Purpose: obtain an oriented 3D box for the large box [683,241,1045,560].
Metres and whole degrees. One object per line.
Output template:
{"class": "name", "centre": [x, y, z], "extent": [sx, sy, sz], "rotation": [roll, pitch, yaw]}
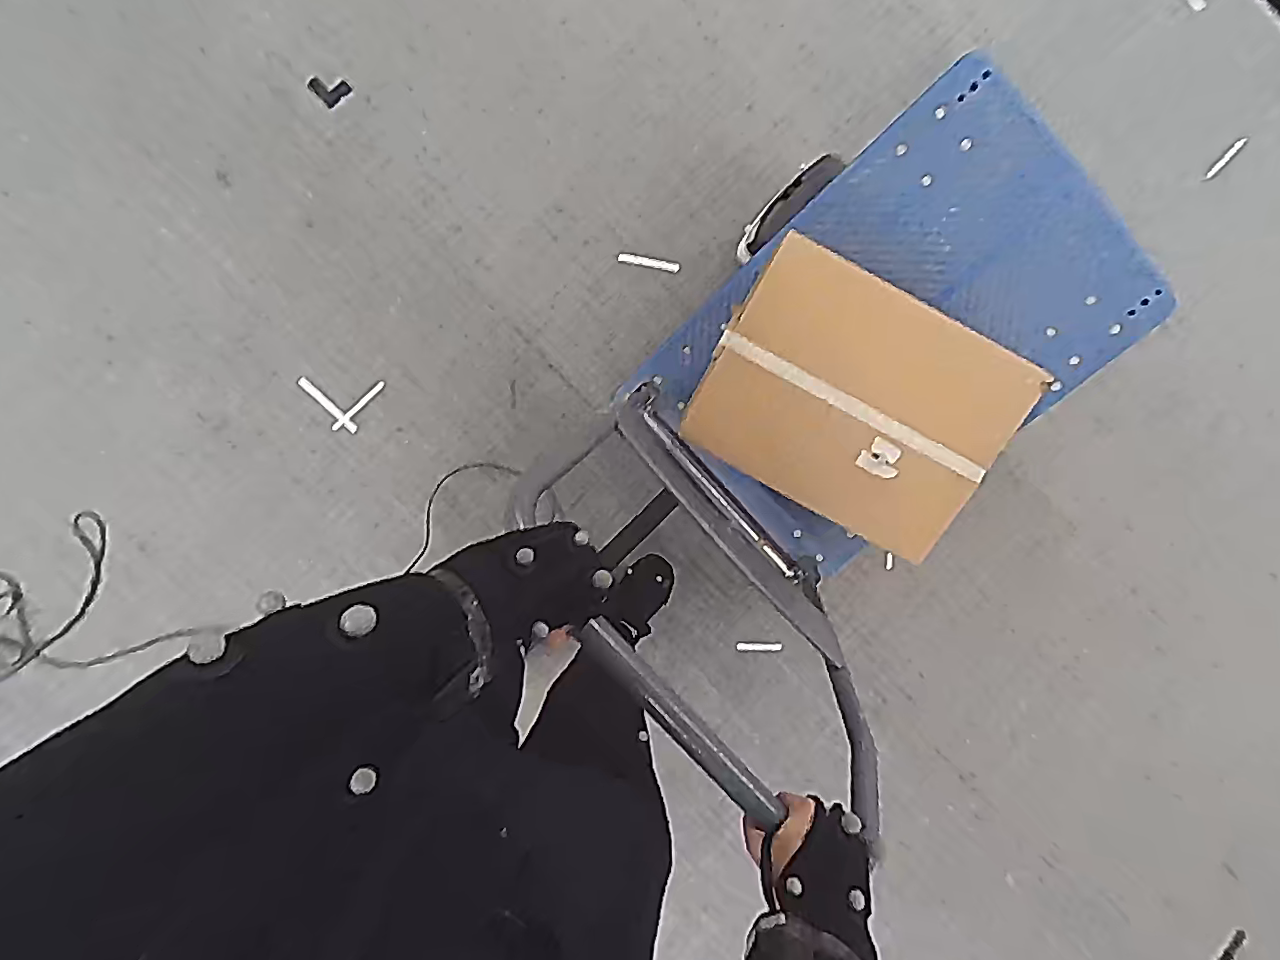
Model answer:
{"class": "large box", "centre": [0.316, -0.133, 0.902], "extent": [0.408, 0.320, 0.320], "rotation": [29, 105, -1]}
